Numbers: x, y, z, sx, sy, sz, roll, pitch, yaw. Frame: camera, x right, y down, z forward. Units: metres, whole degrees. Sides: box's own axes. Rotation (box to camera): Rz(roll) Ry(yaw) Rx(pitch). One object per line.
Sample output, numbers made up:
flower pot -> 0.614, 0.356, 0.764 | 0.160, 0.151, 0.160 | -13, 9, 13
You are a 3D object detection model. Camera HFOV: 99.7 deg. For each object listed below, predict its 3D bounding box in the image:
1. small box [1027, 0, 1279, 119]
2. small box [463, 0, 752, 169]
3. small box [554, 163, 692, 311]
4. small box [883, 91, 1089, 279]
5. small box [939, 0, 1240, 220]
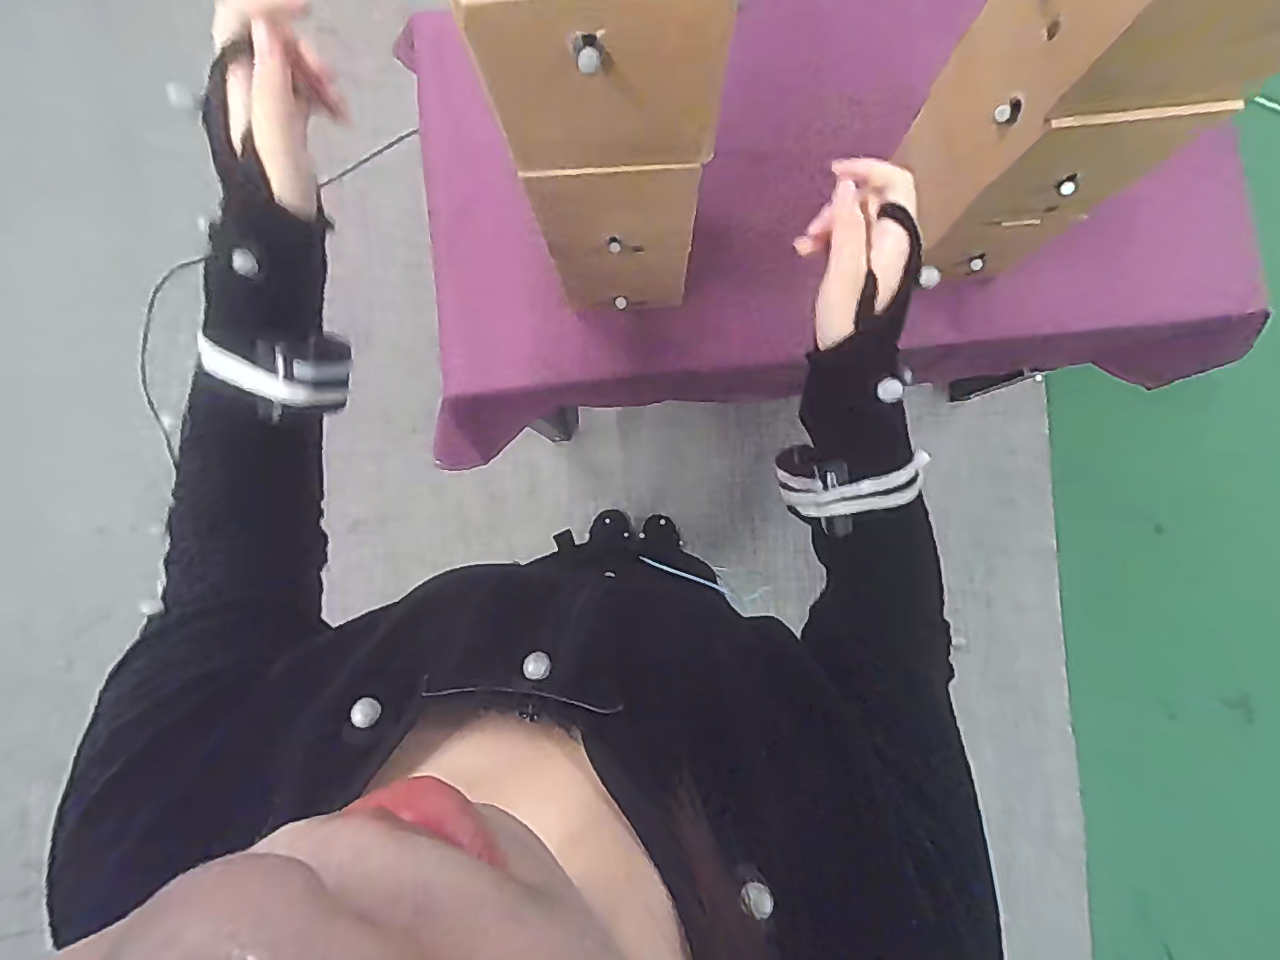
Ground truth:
small box -> 0.427, -0.402, 0.392 | 0.179, 0.176, 0.168 | -4, 86, 2
small box -> -0.019, -0.360, 0.402 | 0.179, 0.176, 0.168 | -2, 88, 2
small box -> -0.021, -0.346, 0.730 | 0.168, 0.176, 0.179 | -3, 88, 1
small box -> 0.444, -0.381, 0.720 | 0.168, 0.176, 0.179 | -4, 88, 1
small box -> 0.436, -0.389, 0.555 | 0.168, 0.176, 0.179 | -4, 87, 1
